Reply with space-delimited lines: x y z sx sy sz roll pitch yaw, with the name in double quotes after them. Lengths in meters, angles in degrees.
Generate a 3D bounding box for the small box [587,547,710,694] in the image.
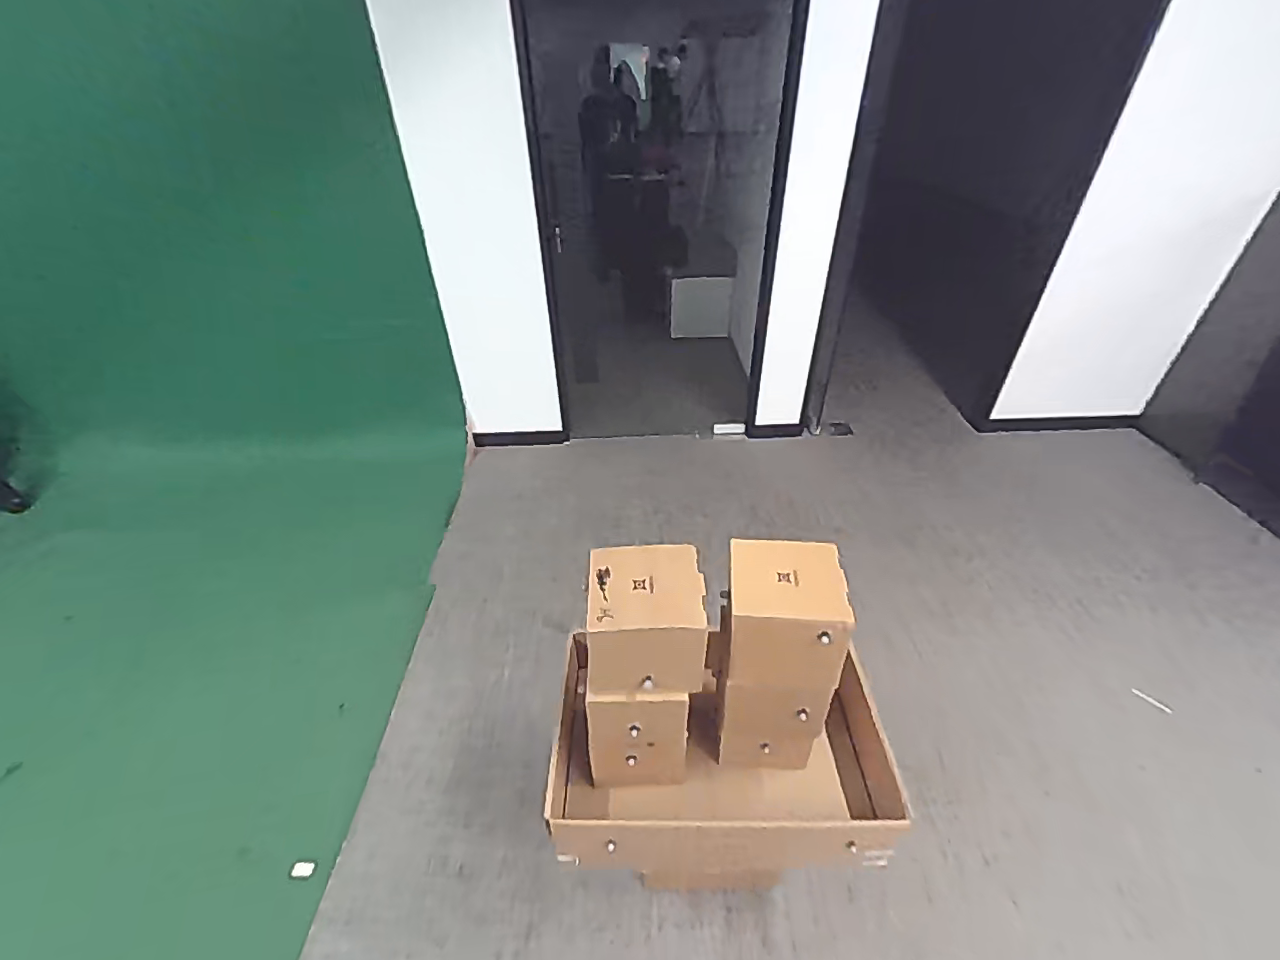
0.010 0.226 0.869 0.179 0.176 0.168 -1 38 -1 "small box"
